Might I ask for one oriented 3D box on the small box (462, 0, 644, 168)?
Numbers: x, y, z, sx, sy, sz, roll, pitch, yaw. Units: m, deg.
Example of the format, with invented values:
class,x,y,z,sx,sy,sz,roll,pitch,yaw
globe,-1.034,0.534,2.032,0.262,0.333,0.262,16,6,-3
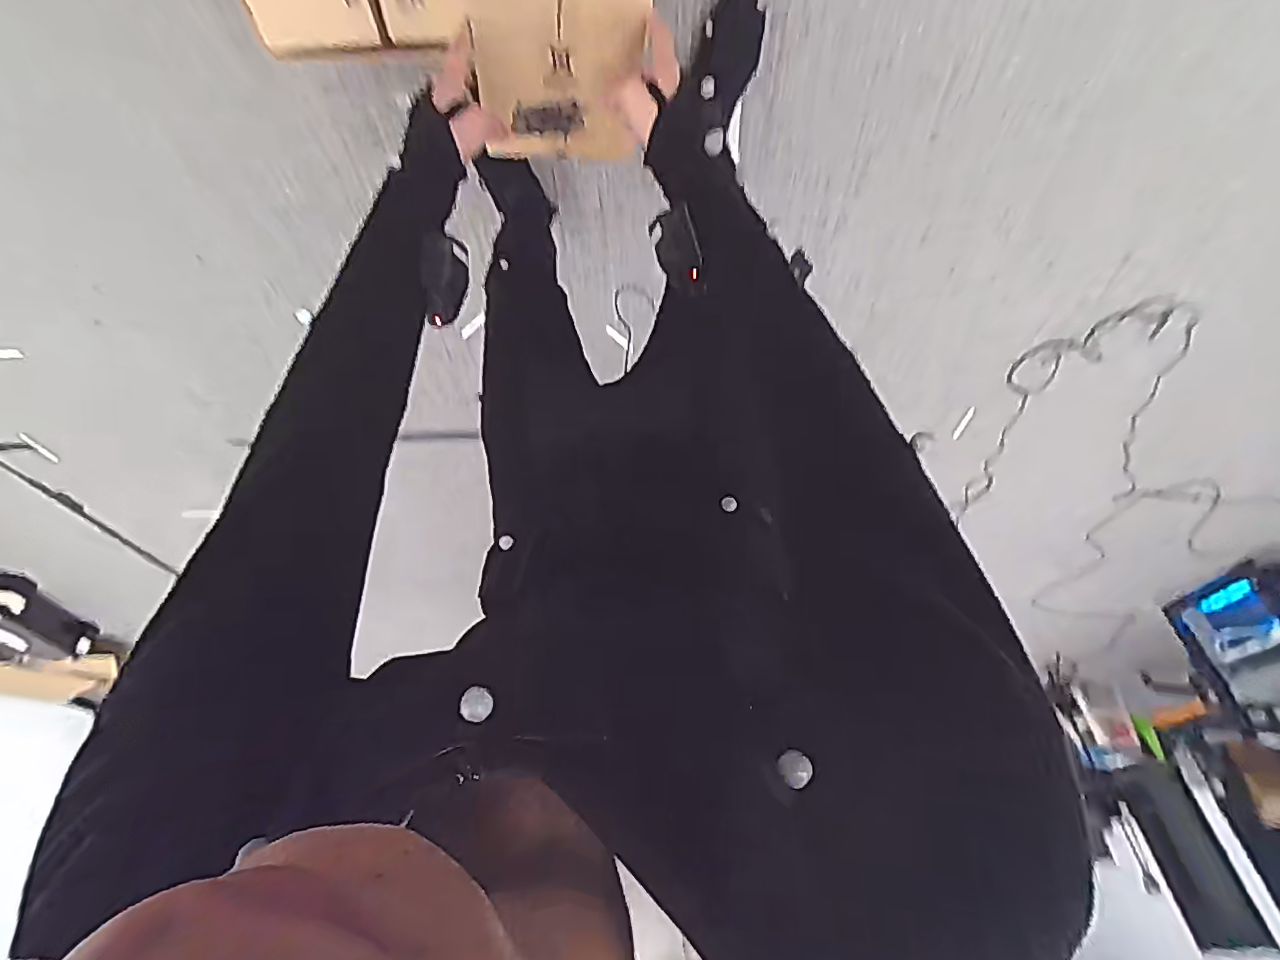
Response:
class,x,y,z,sx,sy,sz,roll,pitch,yaw
small box,-0.089,-0.469,0.575,0.168,0.176,0.179,-1,148,-7
